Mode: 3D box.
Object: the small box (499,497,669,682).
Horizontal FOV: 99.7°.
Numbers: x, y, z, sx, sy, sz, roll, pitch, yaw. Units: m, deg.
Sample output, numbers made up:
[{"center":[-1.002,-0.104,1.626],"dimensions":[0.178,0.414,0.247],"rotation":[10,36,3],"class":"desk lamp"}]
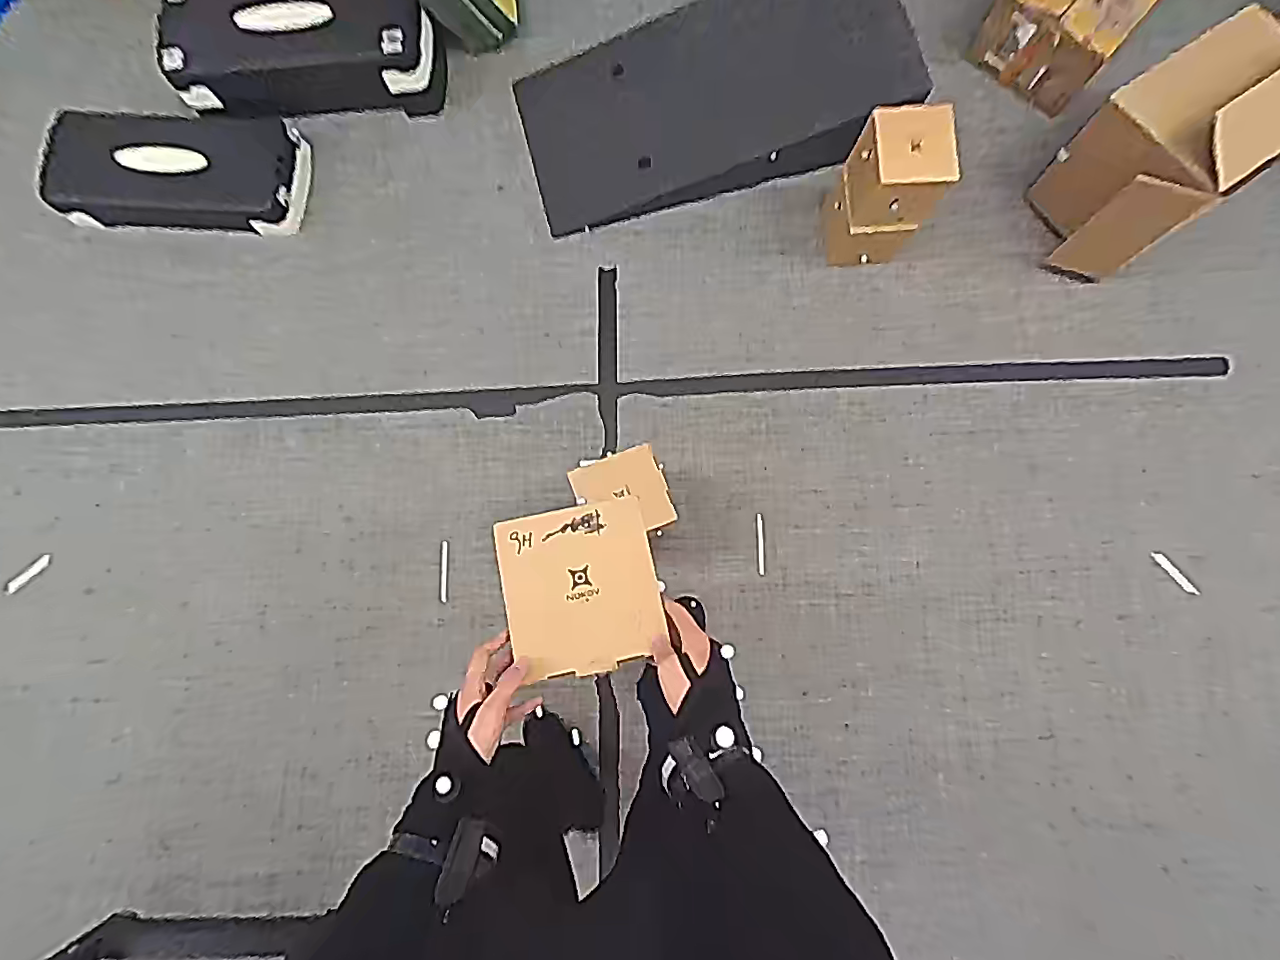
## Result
[{"center":[-0.065,0.134,0.670],"dimensions":[0.168,0.176,0.179],"rotation":[-11,76,-5],"class":"small box"}]
